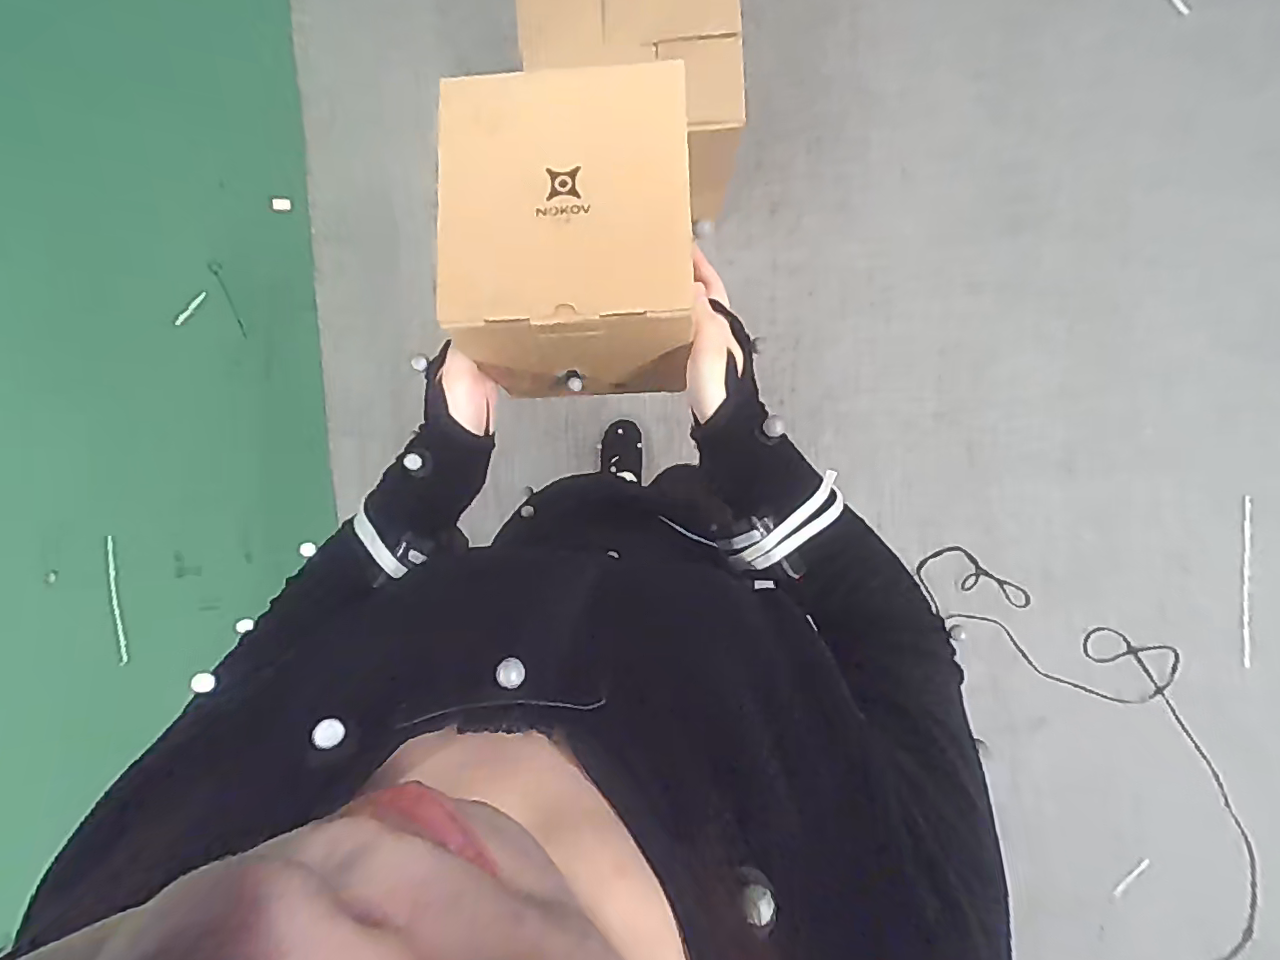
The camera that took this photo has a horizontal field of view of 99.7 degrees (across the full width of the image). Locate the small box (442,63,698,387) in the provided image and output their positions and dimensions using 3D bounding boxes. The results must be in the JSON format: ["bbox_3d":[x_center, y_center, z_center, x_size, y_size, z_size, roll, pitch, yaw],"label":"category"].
[{"bbox_3d":[-0.043,-0.182,0.431,0.168,0.176,0.179,-1,85,2],"label":"small box"}]
